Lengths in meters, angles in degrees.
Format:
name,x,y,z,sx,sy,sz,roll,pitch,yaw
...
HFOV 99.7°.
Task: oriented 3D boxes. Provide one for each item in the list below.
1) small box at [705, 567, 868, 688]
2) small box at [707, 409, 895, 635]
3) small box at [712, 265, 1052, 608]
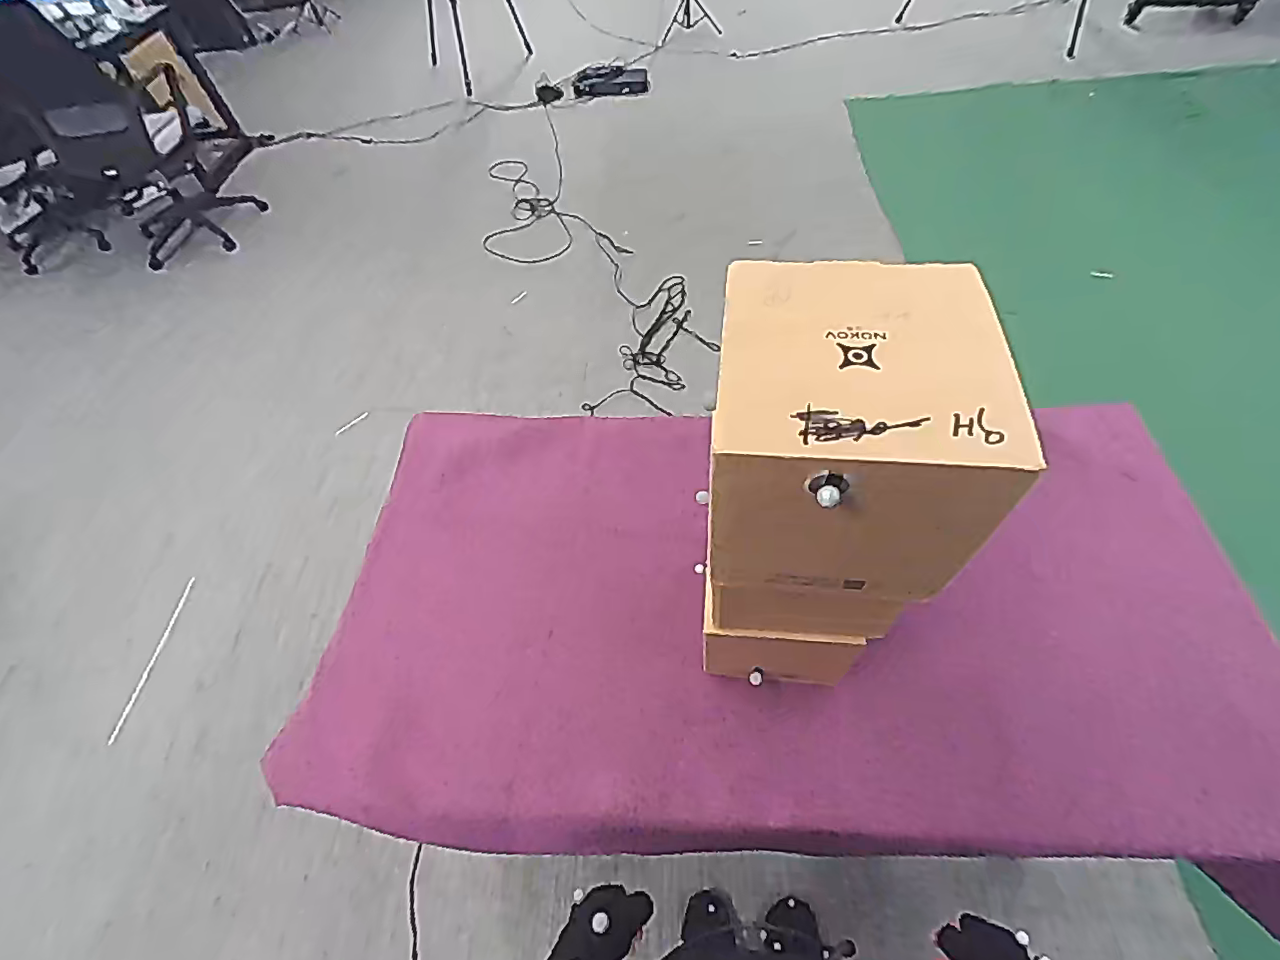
name,x,y,z,sx,sy,sz,roll,pitch,yaw
small box,0.167,0.138,0.666,0.168,0.176,0.179,2,56,9
small box,0.158,0.045,0.534,0.179,0.176,0.168,1,55,8
small box,0.140,-0.030,0.387,0.168,0.176,0.179,3,55,10
